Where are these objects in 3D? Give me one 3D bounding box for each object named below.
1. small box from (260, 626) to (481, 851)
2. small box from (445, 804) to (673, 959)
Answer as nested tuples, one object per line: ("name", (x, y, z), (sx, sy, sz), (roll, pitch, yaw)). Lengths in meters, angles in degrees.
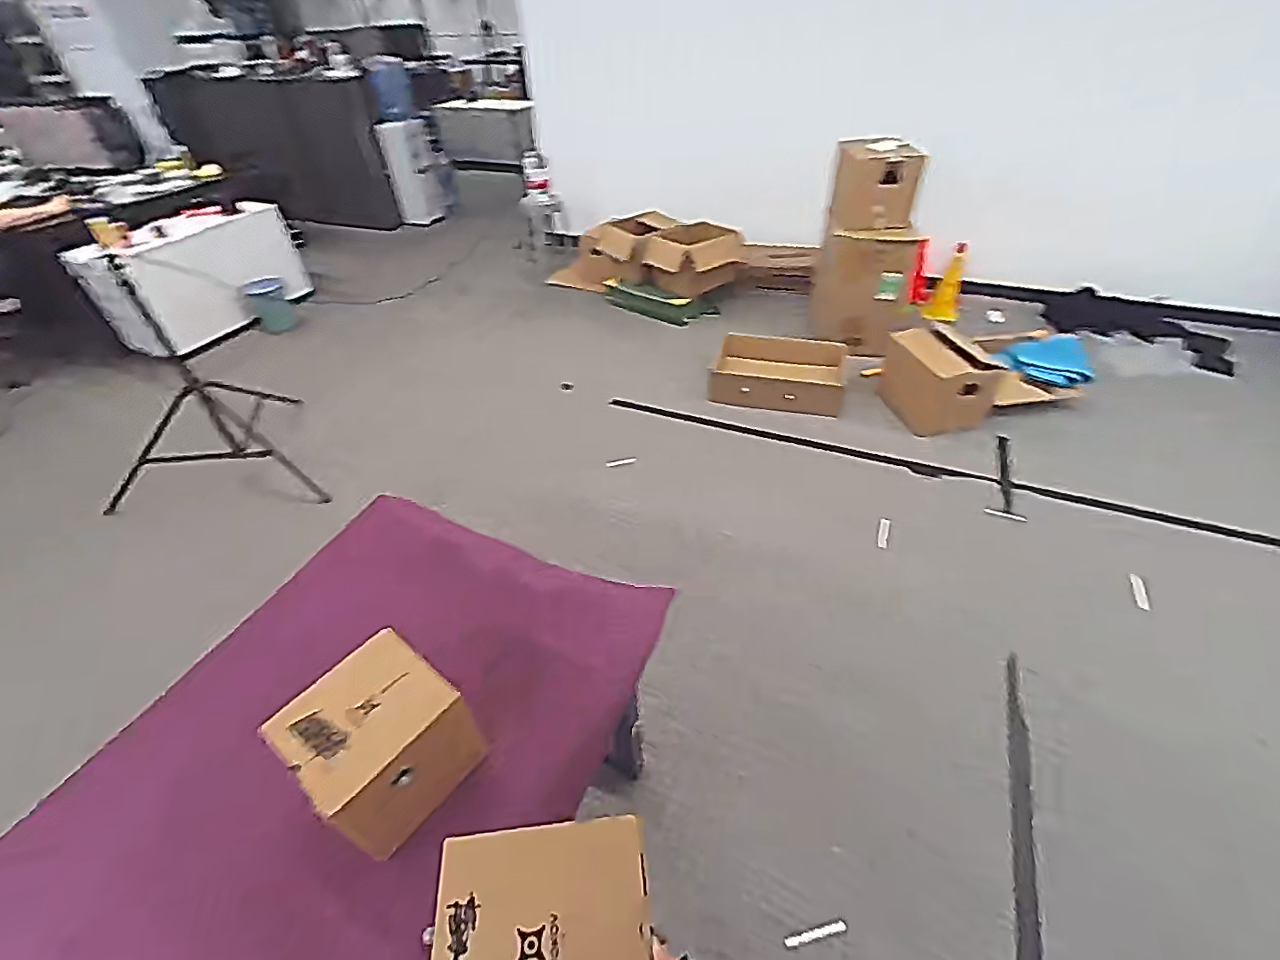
("small box", (-0.339, 0.337, 0.710), (0.168, 0.176, 0.179), (26, 49, 30))
("small box", (-0.066, 0.409, 0.486), (0.179, 0.176, 0.168), (-4, 47, -4))
